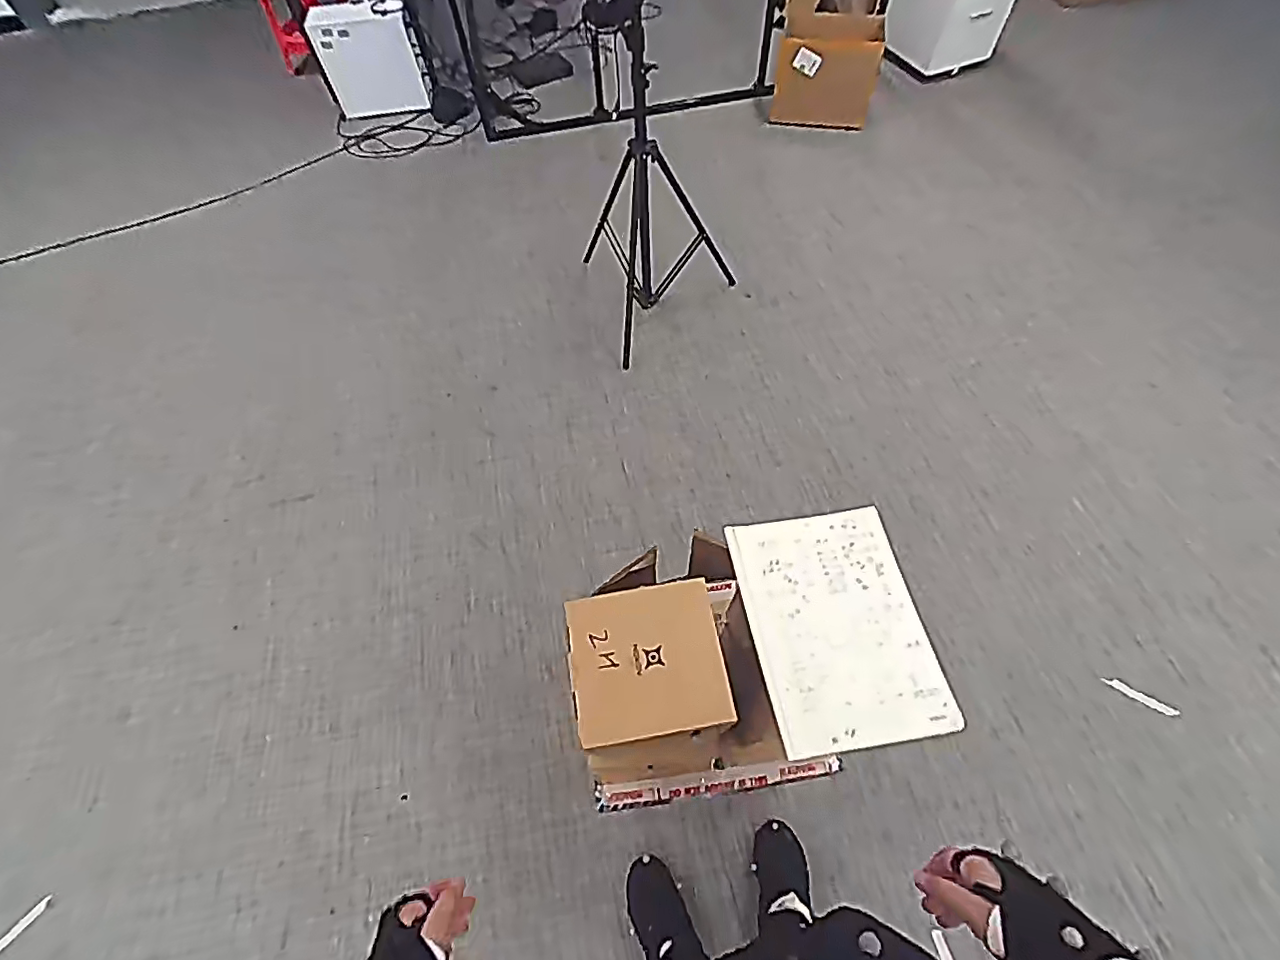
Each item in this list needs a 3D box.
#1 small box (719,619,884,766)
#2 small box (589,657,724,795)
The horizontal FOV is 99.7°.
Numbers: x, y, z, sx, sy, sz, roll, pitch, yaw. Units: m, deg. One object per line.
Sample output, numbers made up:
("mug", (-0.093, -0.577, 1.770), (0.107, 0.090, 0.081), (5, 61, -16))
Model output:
("small box", (0.234, 0.332, 0.836), (0.179, 0.176, 0.168), (-12, 61, -6))
("small box", (0.022, 0.373, 0.820), (0.179, 0.176, 0.168), (-6, 61, 1))
